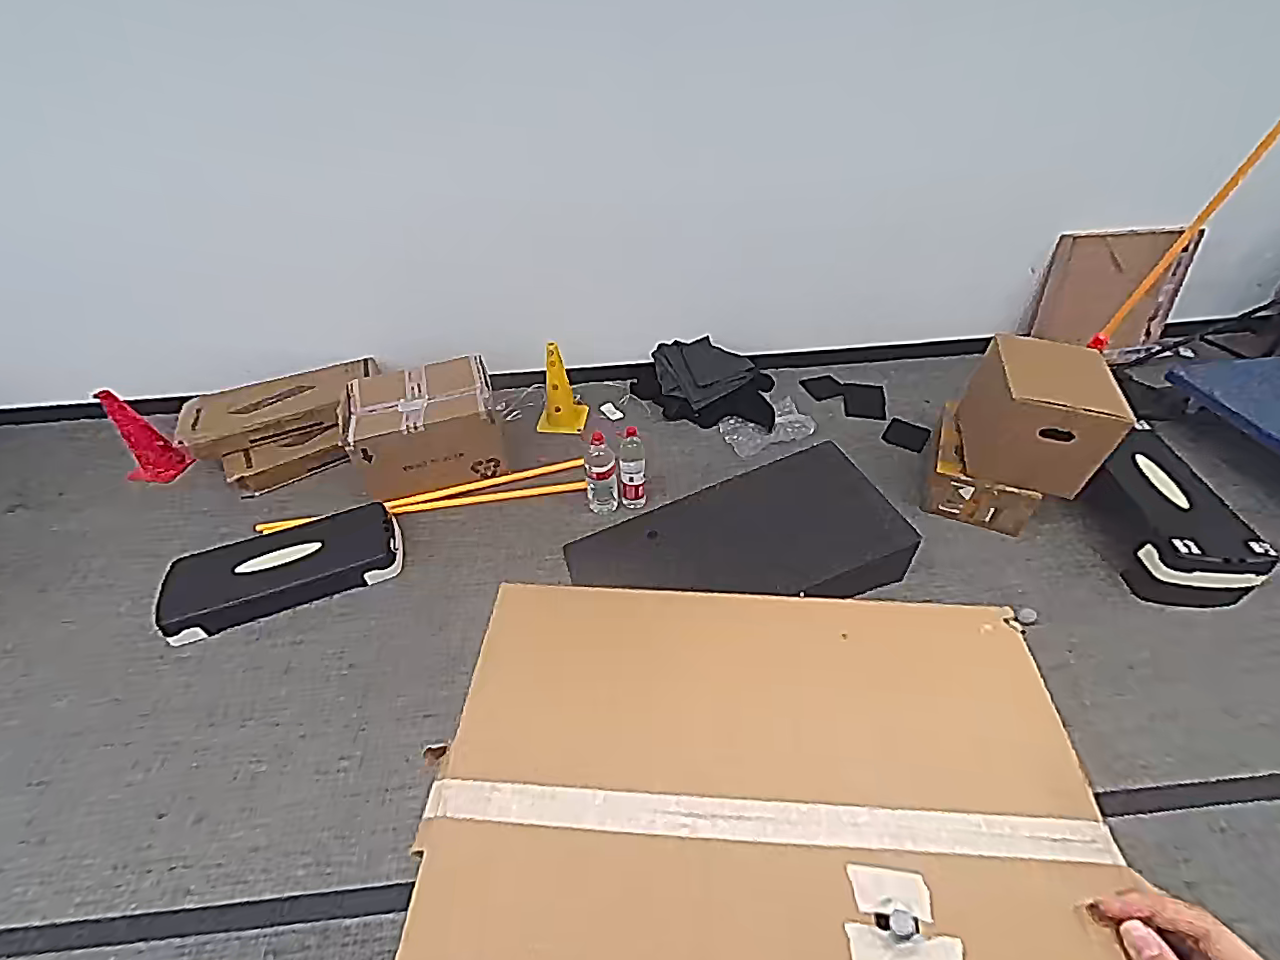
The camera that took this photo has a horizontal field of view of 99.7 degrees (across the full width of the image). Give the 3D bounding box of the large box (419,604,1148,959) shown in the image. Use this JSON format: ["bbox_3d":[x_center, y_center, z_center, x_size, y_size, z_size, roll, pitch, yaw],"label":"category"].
[{"bbox_3d":[0.079,0.320,0.443,0.408,0.320,0.320,2,48,3],"label":"large box"}]
